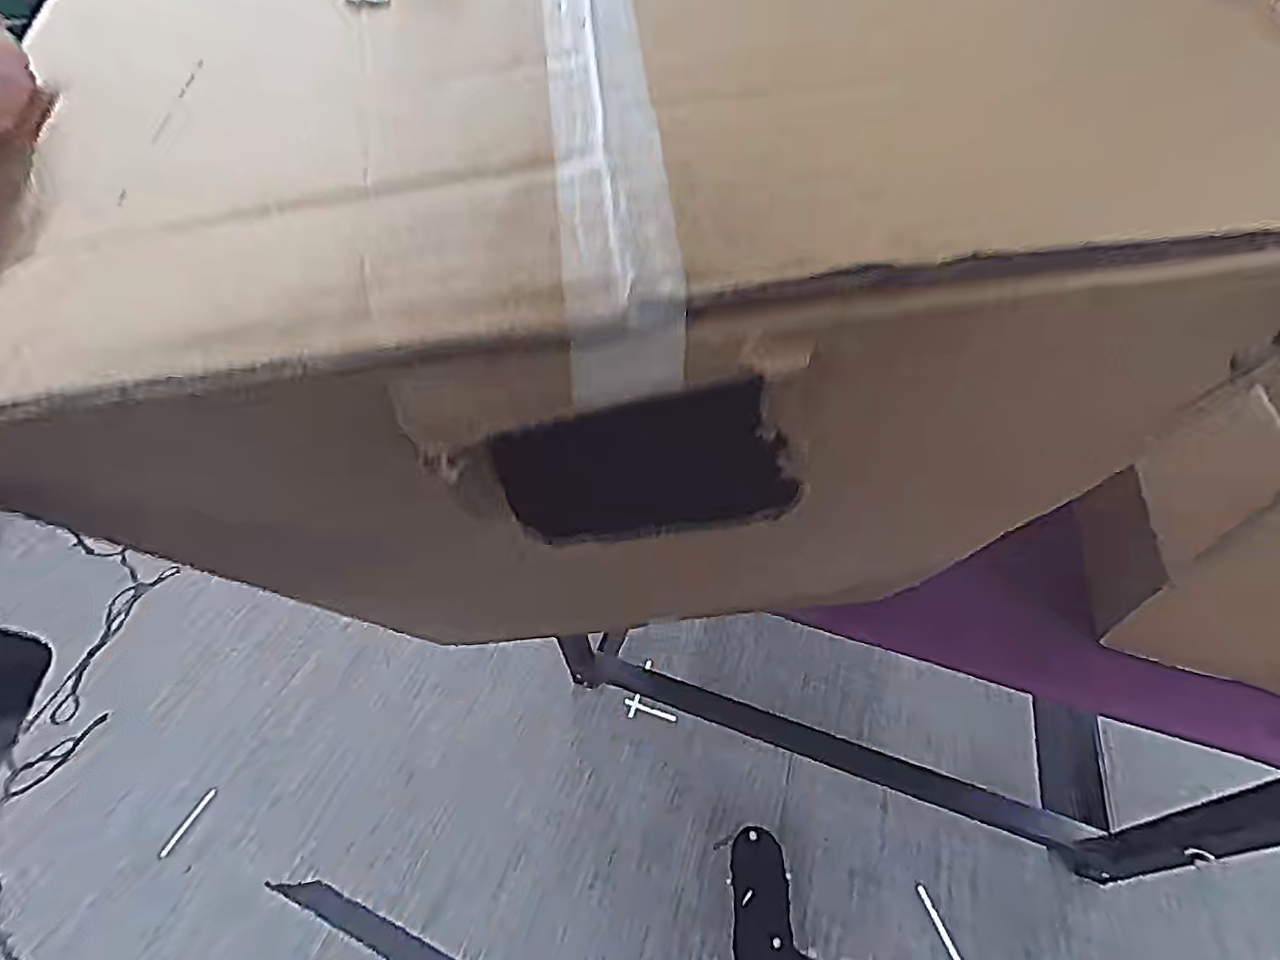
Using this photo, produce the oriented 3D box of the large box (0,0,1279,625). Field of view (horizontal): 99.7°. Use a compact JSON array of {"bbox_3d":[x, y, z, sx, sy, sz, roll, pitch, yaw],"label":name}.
[{"bbox_3d":[-0.001,-0.154,0.318,0.320,0.320,0.408,-8,67,1],"label":"large box"}]
